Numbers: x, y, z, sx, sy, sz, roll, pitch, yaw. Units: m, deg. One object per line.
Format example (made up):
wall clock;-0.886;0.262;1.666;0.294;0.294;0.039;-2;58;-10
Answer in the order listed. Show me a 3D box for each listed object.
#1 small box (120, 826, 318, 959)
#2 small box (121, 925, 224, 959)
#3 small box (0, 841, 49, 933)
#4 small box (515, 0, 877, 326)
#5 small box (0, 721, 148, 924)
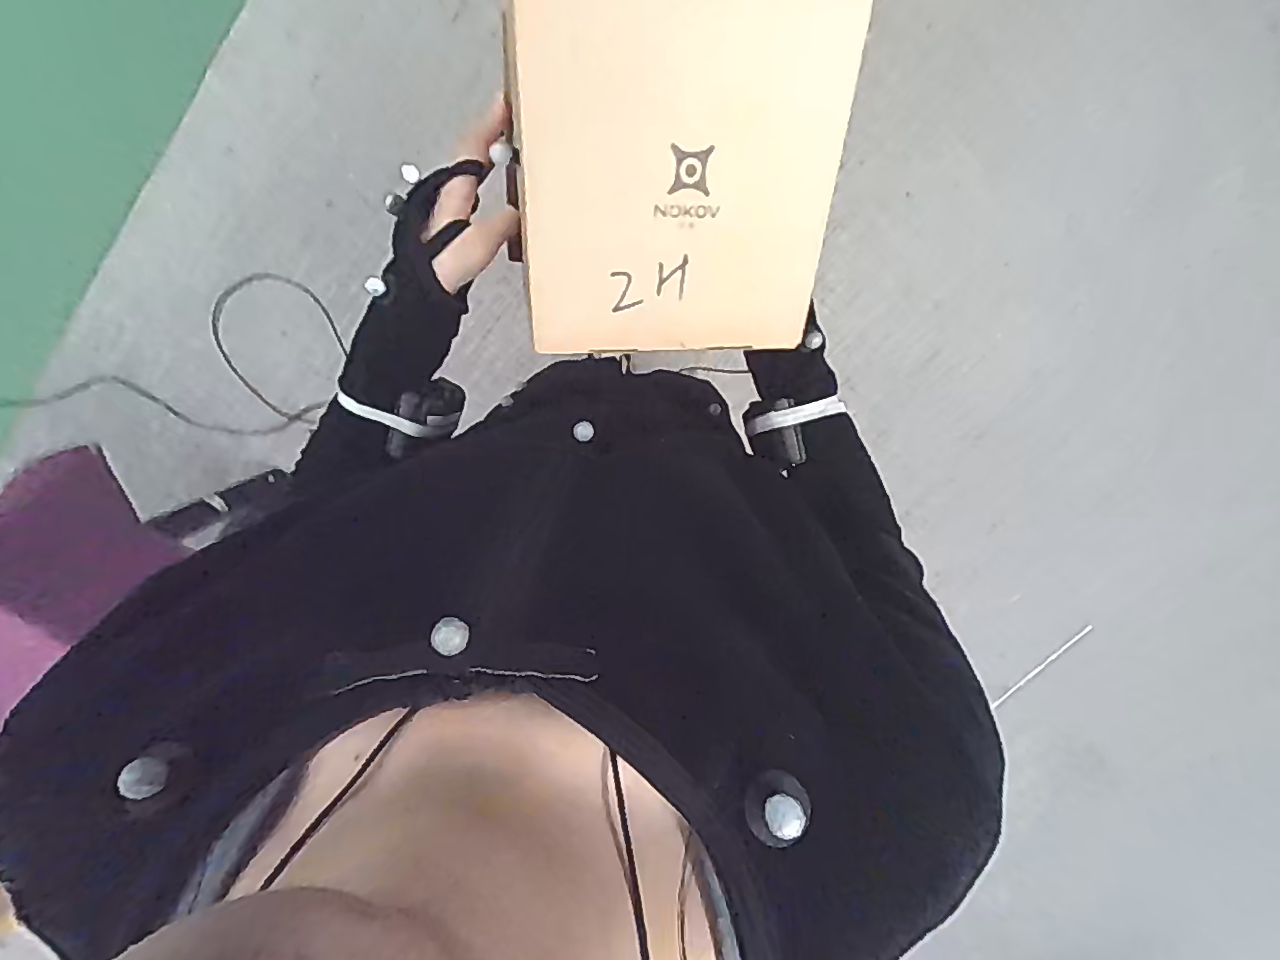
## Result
small box;-0.680;0.719;0.887;0.179;0.176;0.168;41;103;-10
small box;-0.686;0.761;0.730;0.168;0.176;0.179;40;104;-9
small box;-0.918;0.552;0.662;0.179;0.176;0.168;39;103;-11
small box;0.010;-0.208;0.337;0.168;0.176;0.179;-2;124;-12
small box;-0.921;0.507;0.820;0.179;0.176;0.168;37;103;-11
